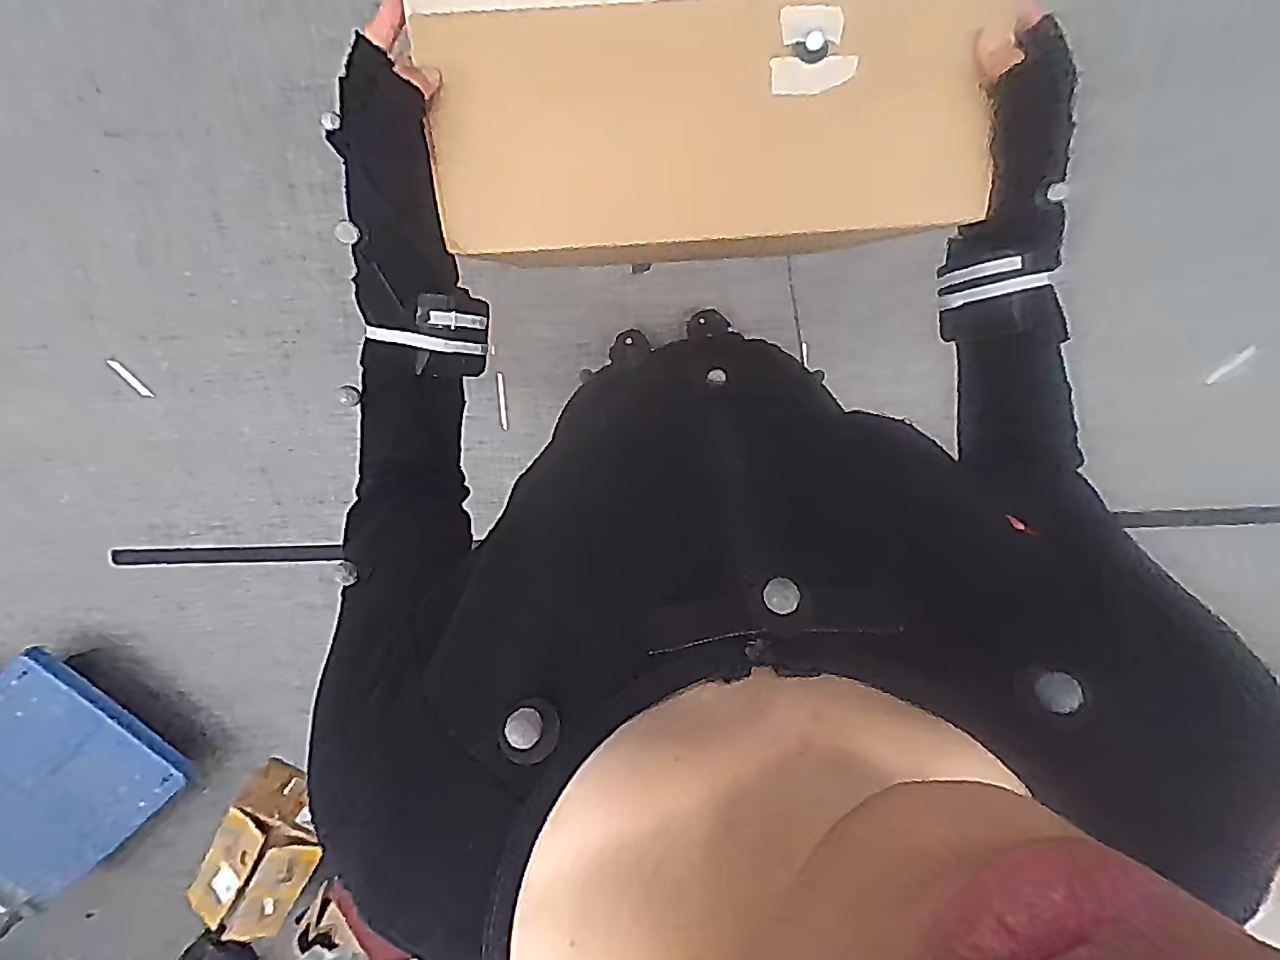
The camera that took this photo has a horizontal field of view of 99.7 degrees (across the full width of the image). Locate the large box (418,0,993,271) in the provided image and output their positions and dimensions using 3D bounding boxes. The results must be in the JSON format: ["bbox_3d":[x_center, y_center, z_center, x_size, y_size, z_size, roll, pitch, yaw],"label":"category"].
[{"bbox_3d":[0.041,-0.384,0.509,0.408,0.320,0.320,-4,109,0],"label":"large box"}]
